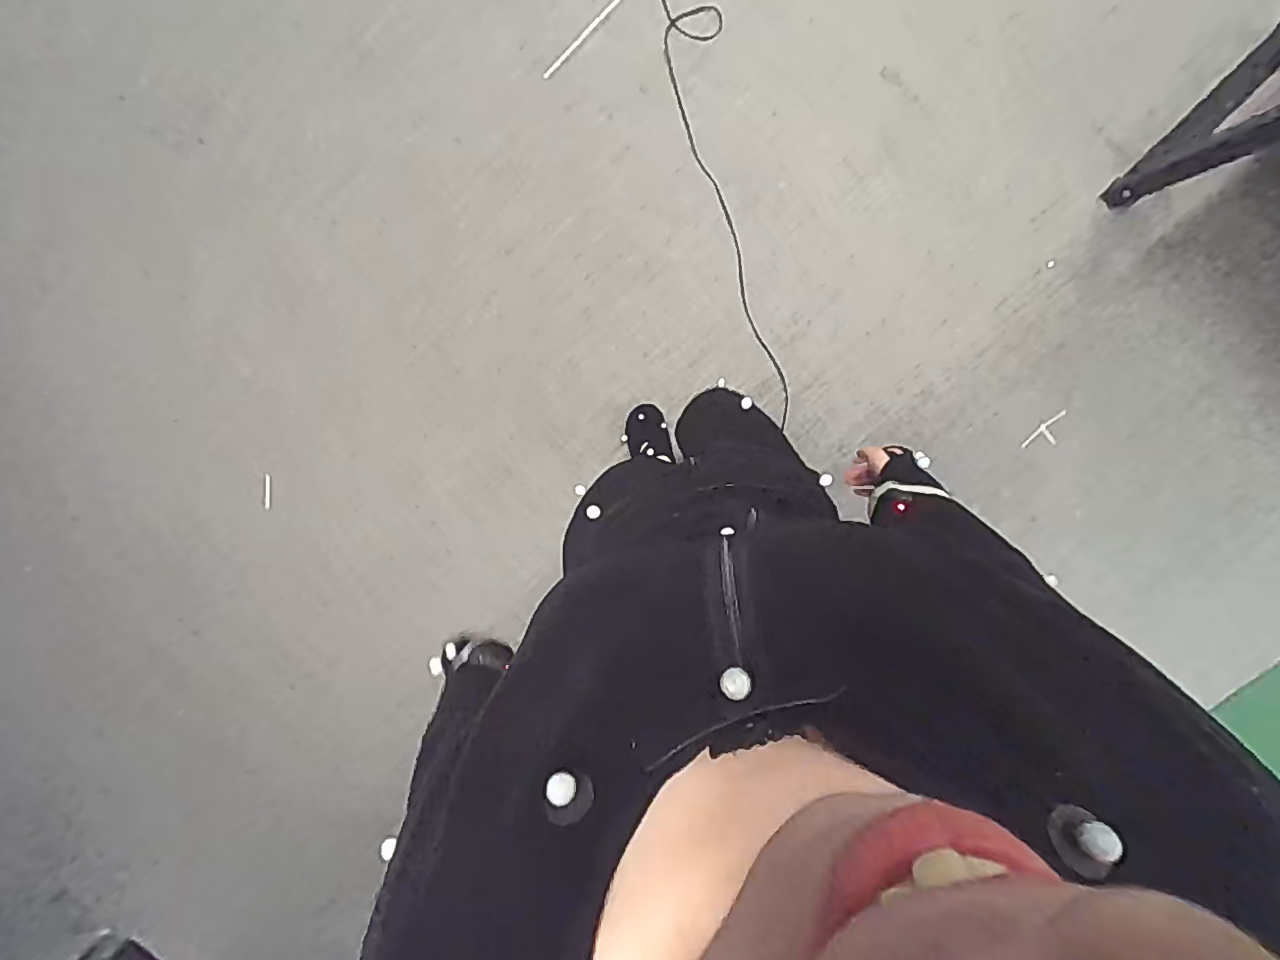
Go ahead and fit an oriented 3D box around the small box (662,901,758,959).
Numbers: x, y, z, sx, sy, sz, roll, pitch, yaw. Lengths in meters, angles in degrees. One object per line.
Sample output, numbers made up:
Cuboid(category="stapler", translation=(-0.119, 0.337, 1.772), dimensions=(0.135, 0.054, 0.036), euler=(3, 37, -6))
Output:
Cuboid(category="small box", translation=(0.164, 1.122, 1.294), dimensions=(0.168, 0.176, 0.179), euler=(-44, 97, 11))
